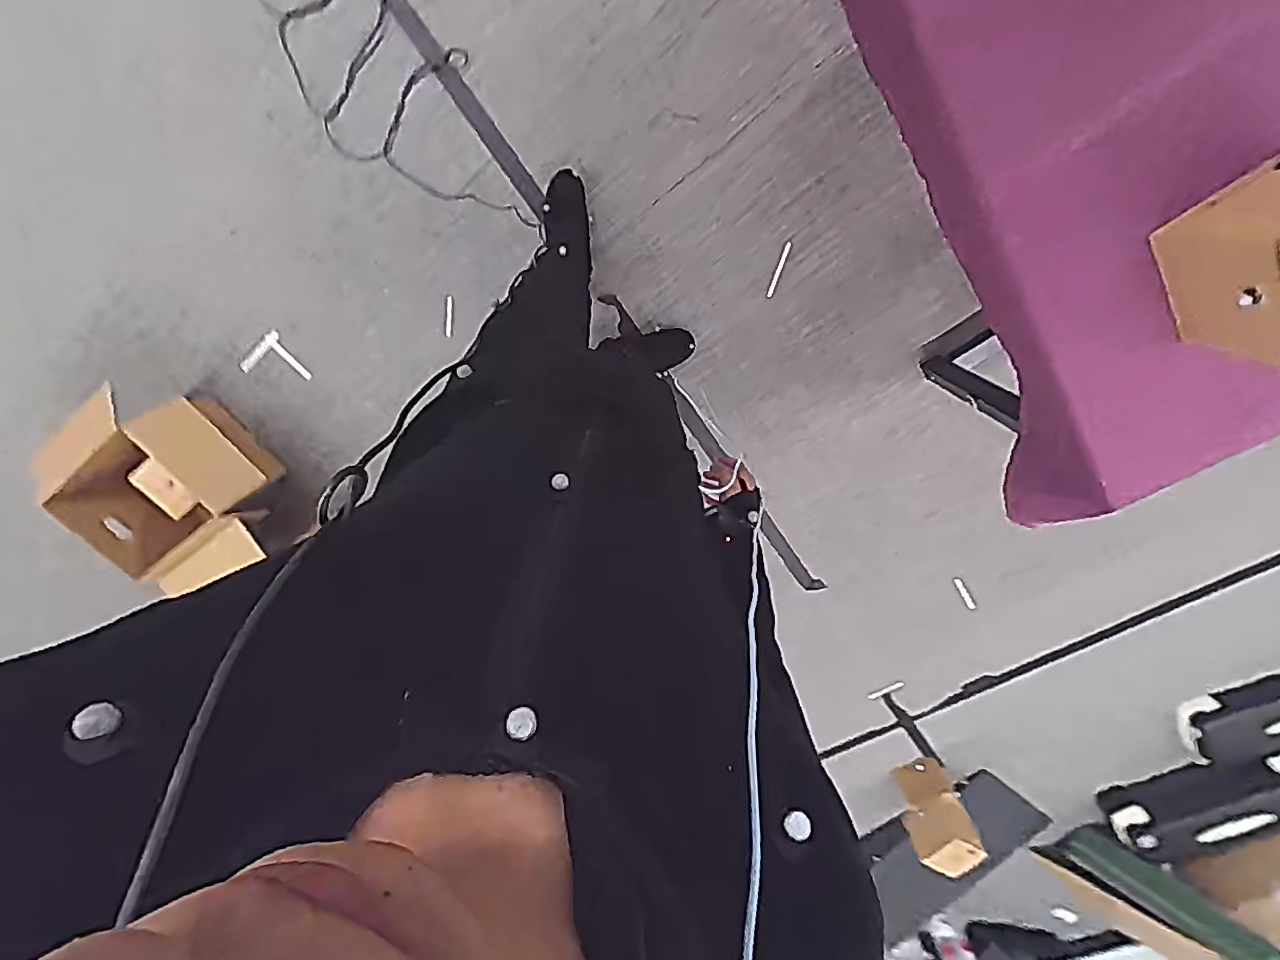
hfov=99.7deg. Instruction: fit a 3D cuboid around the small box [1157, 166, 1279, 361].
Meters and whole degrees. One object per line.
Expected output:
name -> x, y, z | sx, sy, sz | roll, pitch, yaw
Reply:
small box -> 0.771, -0.258, 0.634 | 0.168, 0.176, 0.179 | -33, 111, 17
